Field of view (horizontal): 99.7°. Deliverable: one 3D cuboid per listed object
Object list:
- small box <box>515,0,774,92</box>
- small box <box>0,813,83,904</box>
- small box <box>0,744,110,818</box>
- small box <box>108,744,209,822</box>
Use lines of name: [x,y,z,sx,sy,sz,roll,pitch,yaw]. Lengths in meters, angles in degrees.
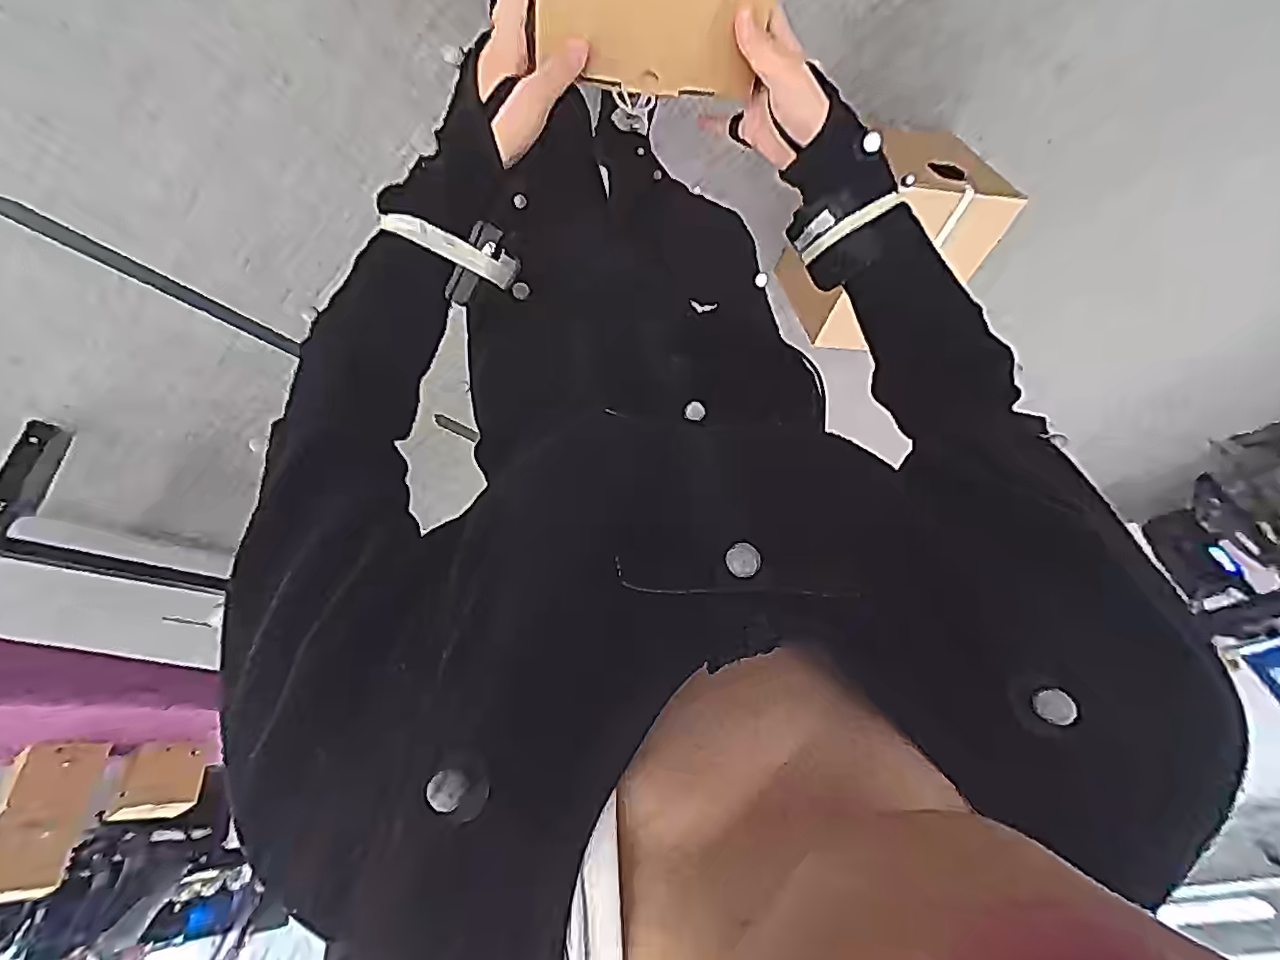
small box: [-0.002,-0.408,0.390,0.168,0.176,0.179,-5,135,-16]
small box: [-1.561,0.956,1.363,0.179,0.176,0.168,-35,141,27]
small box: [-1.584,0.825,1.457,0.179,0.176,0.168,-33,141,26]
small box: [-1.423,0.896,1.609,0.179,0.176,0.168,-32,141,26]
